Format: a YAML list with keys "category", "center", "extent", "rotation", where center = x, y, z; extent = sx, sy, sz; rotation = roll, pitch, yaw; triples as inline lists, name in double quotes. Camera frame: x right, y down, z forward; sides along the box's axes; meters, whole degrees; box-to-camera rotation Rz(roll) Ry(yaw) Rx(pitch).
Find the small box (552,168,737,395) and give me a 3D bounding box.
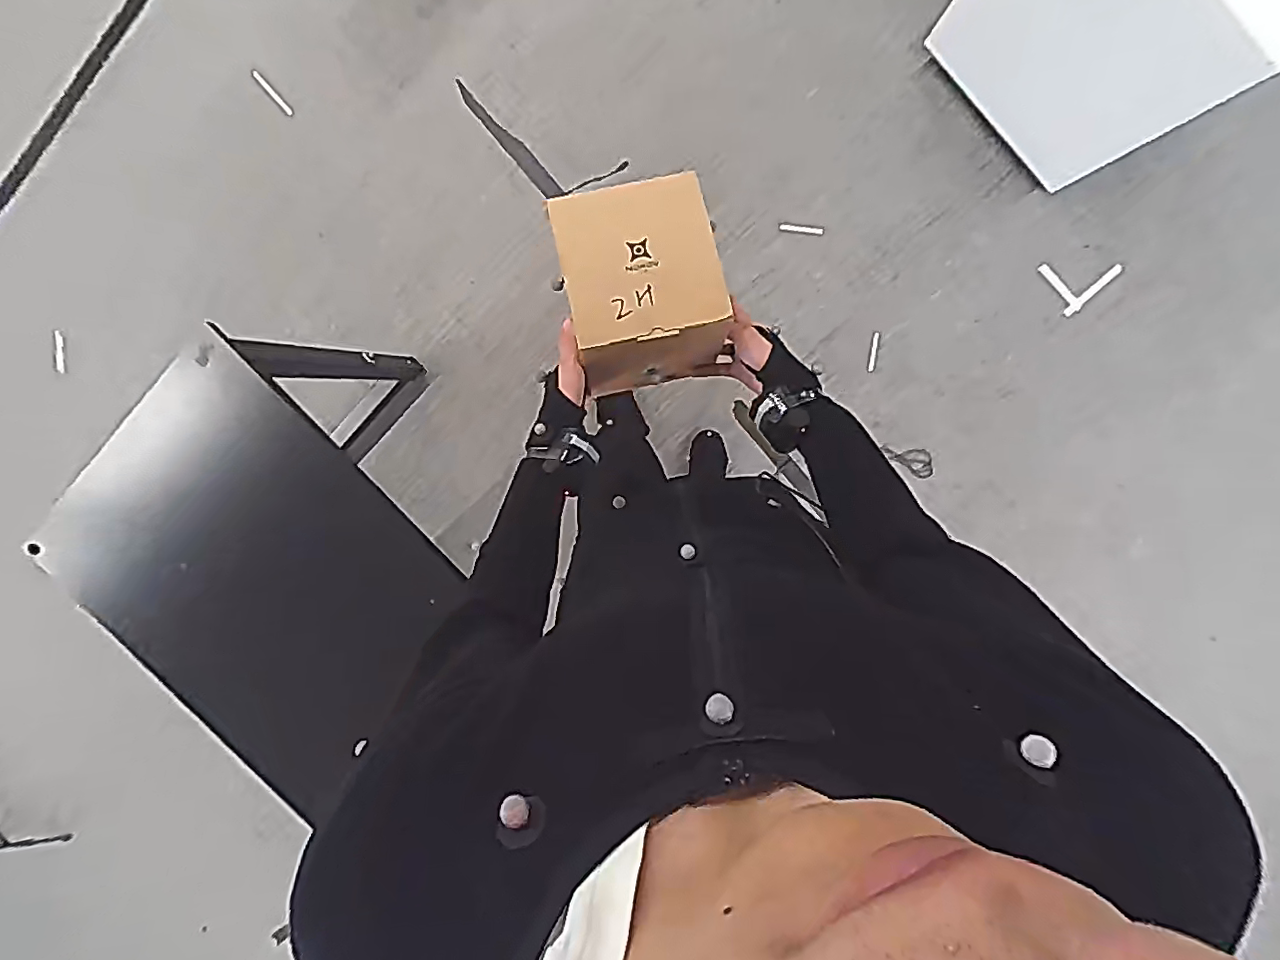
- category: "small box"
  center: [0.001, -0.220, 0.636]
  extent: [0.168, 0.176, 0.179]
  rotation: [-12, 82, -2]
